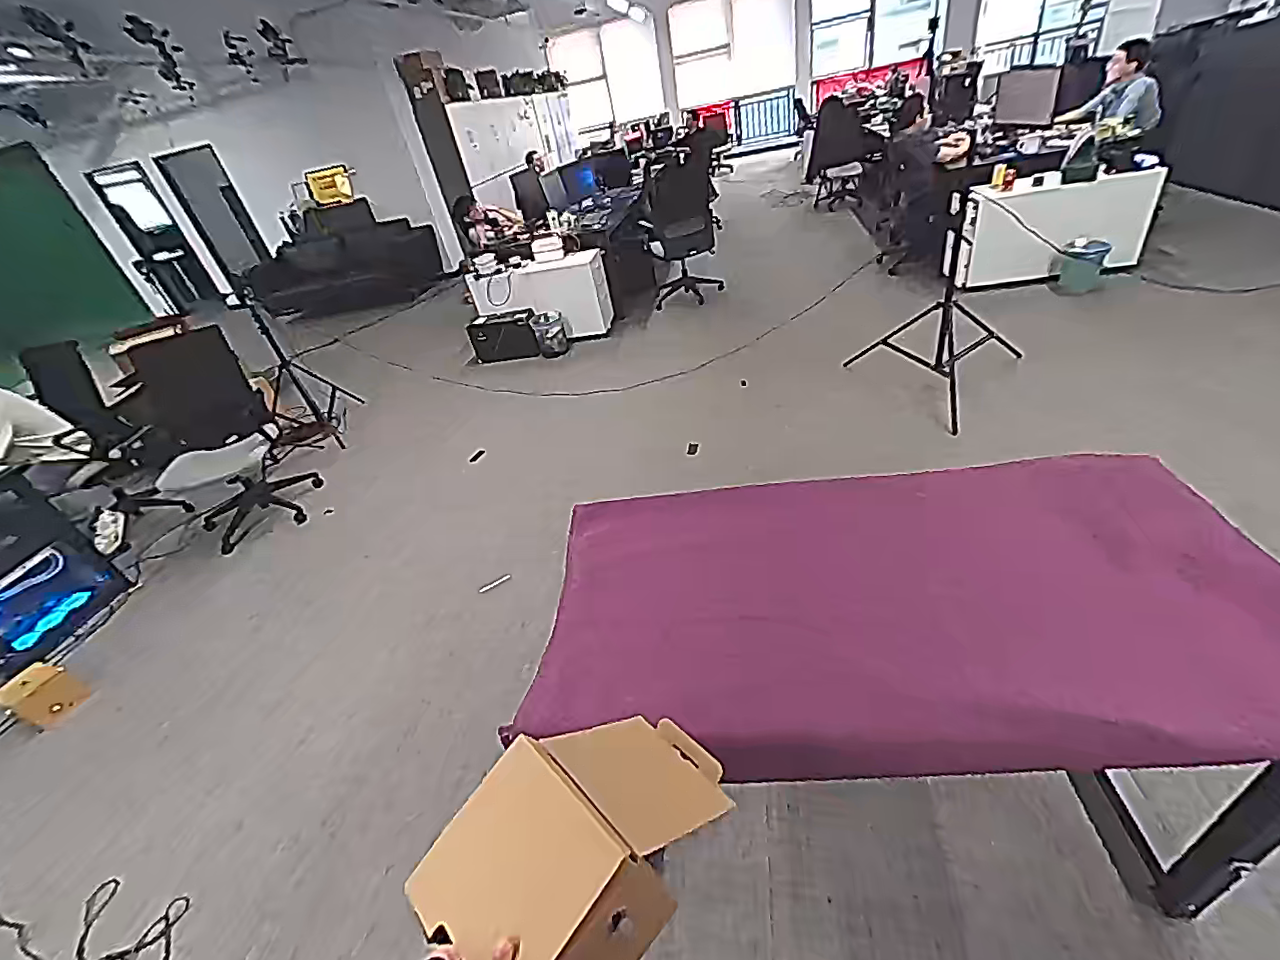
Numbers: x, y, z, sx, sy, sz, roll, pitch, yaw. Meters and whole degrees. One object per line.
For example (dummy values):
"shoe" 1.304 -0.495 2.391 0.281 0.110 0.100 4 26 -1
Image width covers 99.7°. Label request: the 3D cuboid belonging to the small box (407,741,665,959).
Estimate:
"small box" -0.092 0.419 0.552 0.179 0.176 0.168 -41 42 -23
